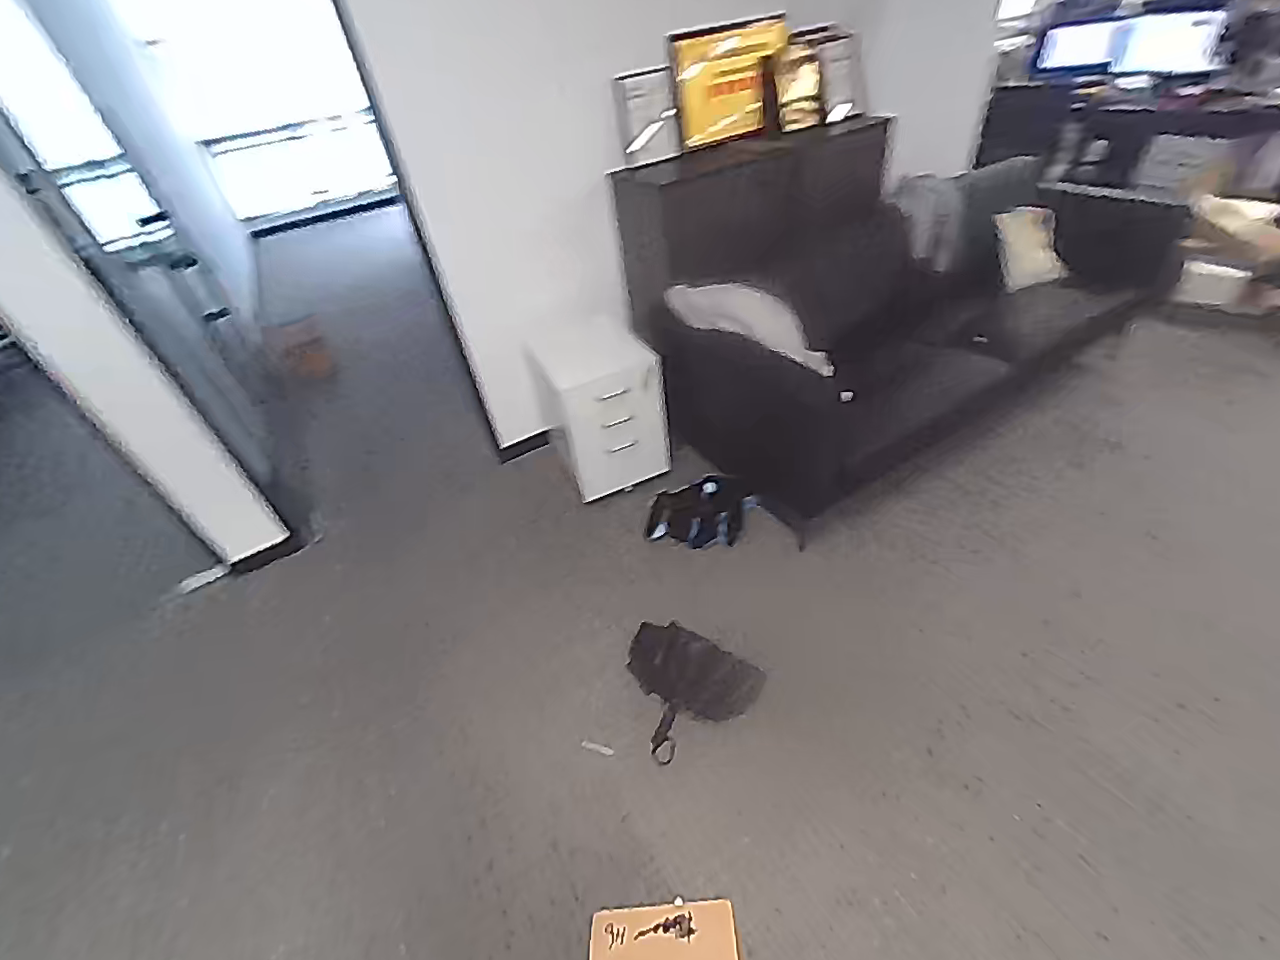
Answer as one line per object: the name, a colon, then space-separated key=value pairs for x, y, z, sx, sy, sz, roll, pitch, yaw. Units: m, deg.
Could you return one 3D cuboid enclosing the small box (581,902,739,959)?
small box: x=0.031 y=0.594 z=0.574 sx=0.168 sy=0.176 sz=0.179 roll=-9 pitch=28 yaw=6
